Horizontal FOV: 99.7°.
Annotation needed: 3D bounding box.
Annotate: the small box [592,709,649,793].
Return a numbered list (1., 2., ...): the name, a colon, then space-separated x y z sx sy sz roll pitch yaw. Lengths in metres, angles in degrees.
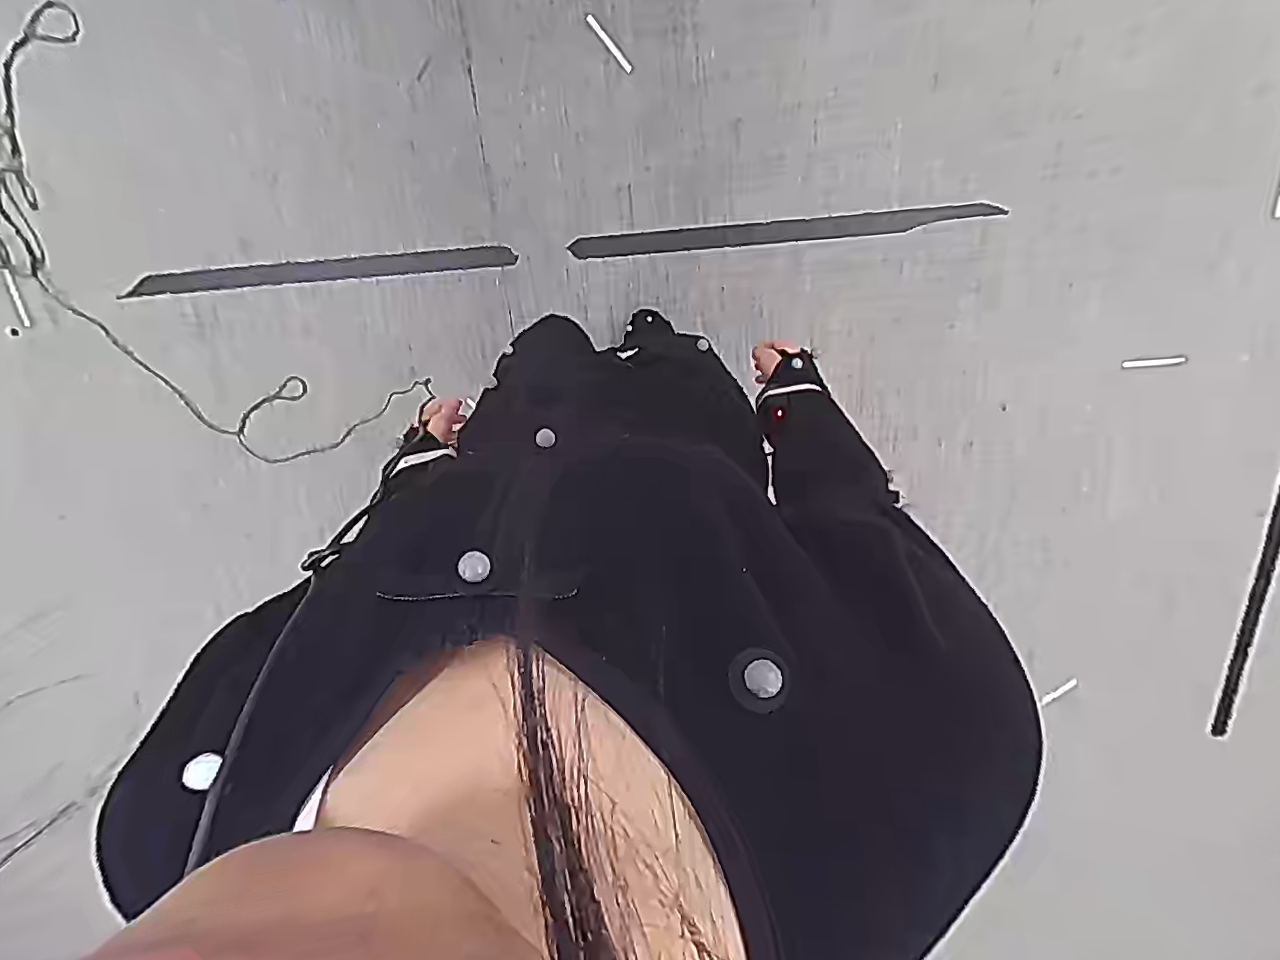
1. small box: -0.056 0.838 1.685 0.168 0.176 0.179 -2 108 3
